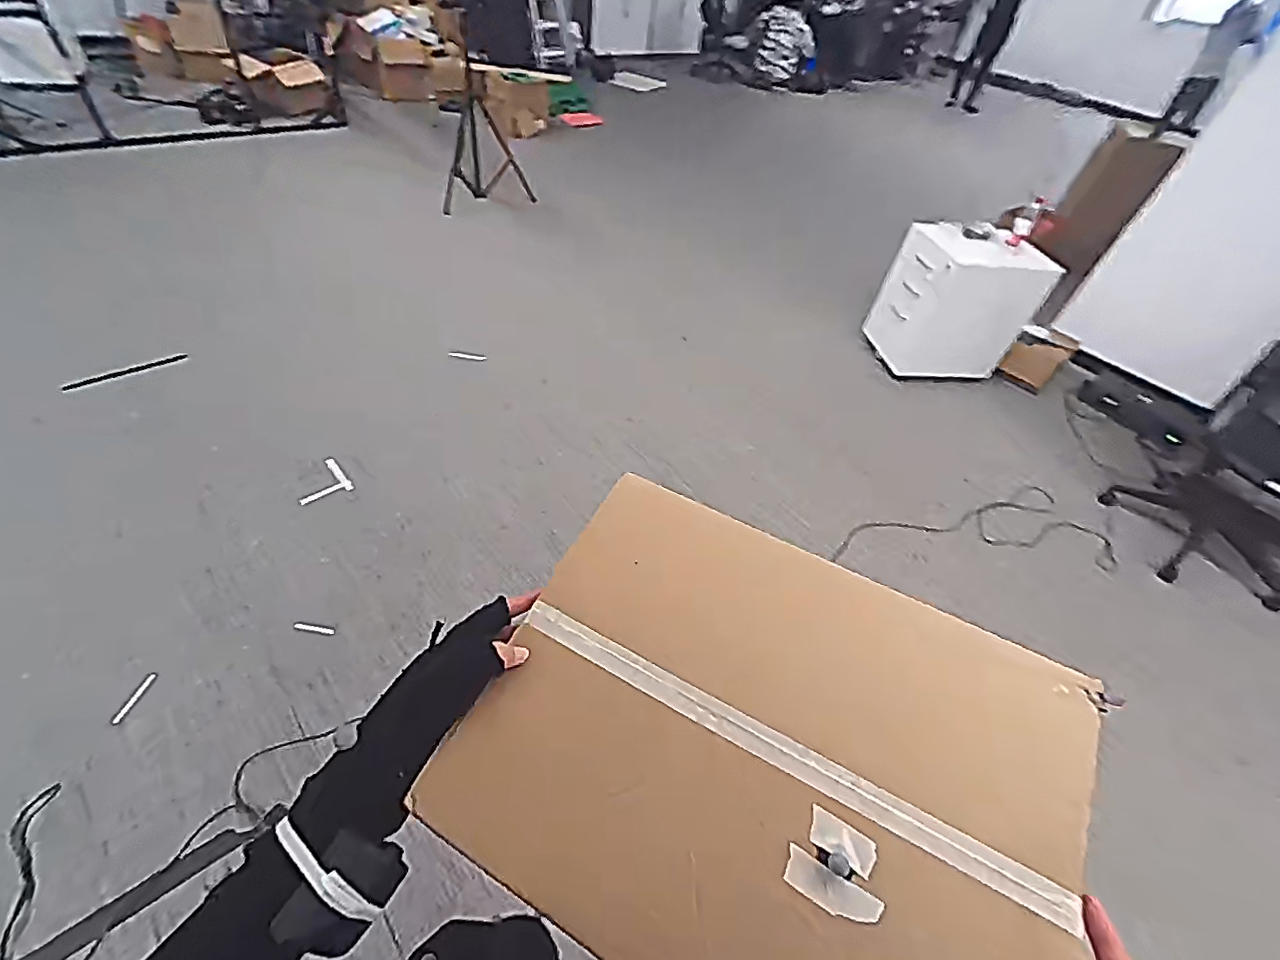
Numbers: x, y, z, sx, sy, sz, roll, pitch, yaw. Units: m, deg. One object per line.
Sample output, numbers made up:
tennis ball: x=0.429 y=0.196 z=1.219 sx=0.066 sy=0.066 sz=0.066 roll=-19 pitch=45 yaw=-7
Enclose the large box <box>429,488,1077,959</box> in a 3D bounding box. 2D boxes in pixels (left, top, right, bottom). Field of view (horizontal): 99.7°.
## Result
large box: x=0.094 y=0.273 z=0.524 sx=0.408 sy=0.320 sz=0.320 roll=24 pitch=62 yaw=17
